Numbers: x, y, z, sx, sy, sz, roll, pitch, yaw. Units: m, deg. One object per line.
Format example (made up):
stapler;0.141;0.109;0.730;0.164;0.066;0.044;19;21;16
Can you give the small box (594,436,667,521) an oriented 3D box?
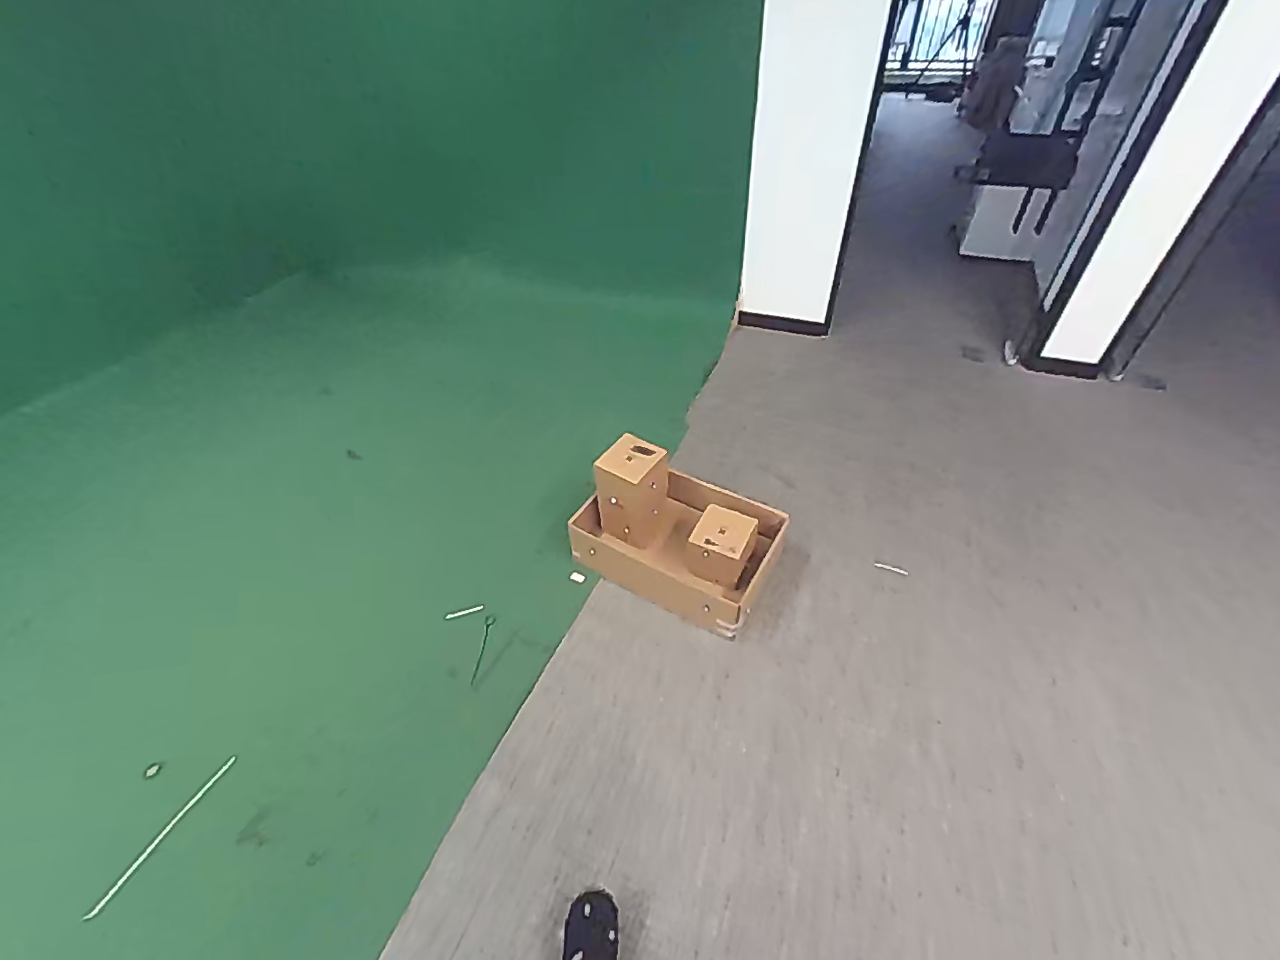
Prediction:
small box;-0.029;-0.005;1.728;0.168;0.176;0.179;25;52;25

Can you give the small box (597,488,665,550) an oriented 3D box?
small box;-0.024;0.108;1.846;0.168;0.176;0.179;25;51;24
